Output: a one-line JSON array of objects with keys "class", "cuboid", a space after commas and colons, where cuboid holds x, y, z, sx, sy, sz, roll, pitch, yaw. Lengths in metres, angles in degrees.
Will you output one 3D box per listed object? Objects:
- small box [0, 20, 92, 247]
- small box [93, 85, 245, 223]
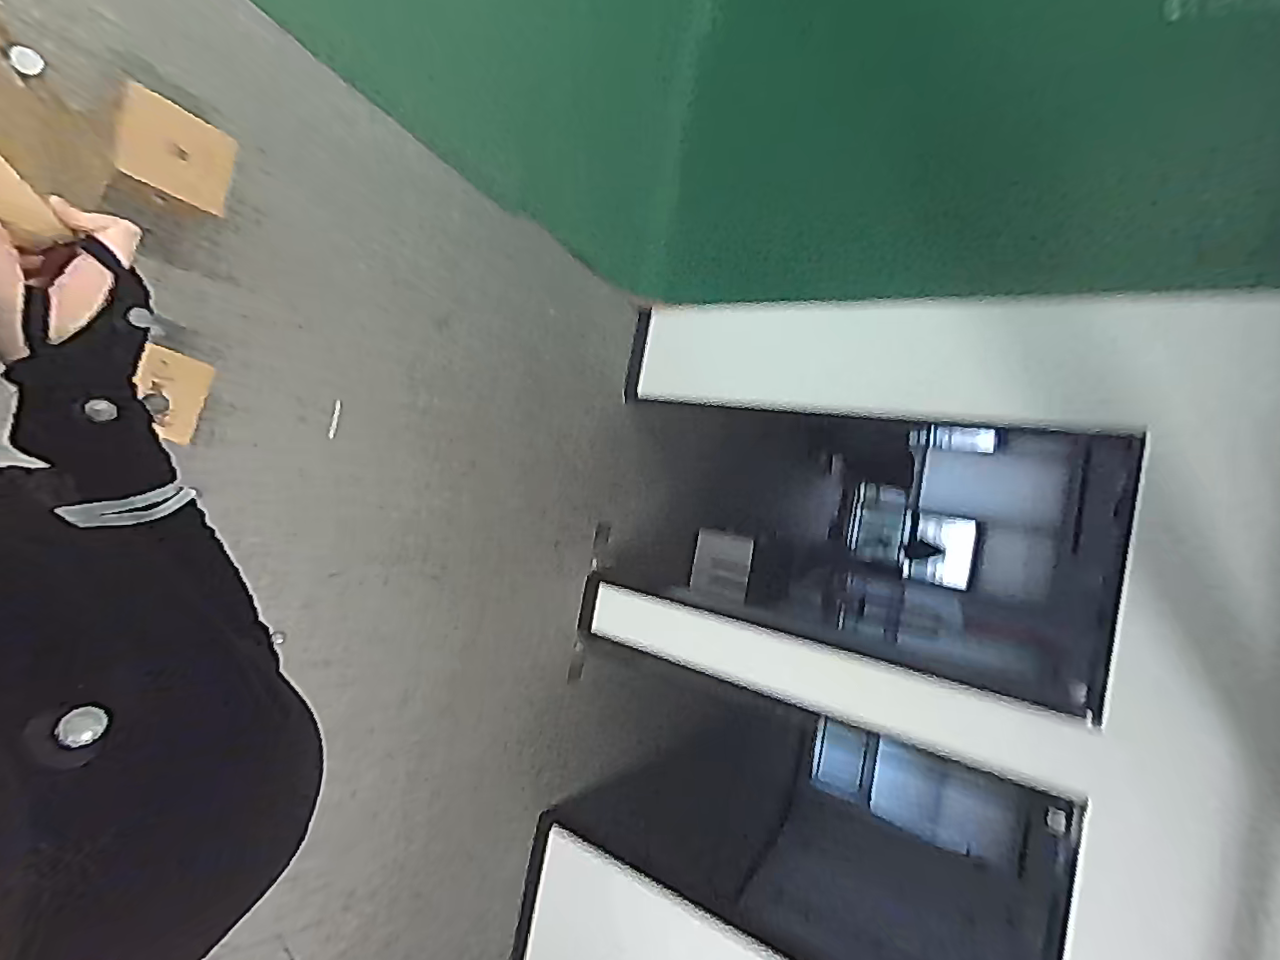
[{"class": "small box", "cuboid": [-0.485, -0.228, 0.312, 0.179, 0.176, 0.168, -26, 142, -11]}, {"class": "small box", "cuboid": [-0.947, -0.638, 1.087, 0.179, 0.176, 0.168, 14, 87, -60]}]
